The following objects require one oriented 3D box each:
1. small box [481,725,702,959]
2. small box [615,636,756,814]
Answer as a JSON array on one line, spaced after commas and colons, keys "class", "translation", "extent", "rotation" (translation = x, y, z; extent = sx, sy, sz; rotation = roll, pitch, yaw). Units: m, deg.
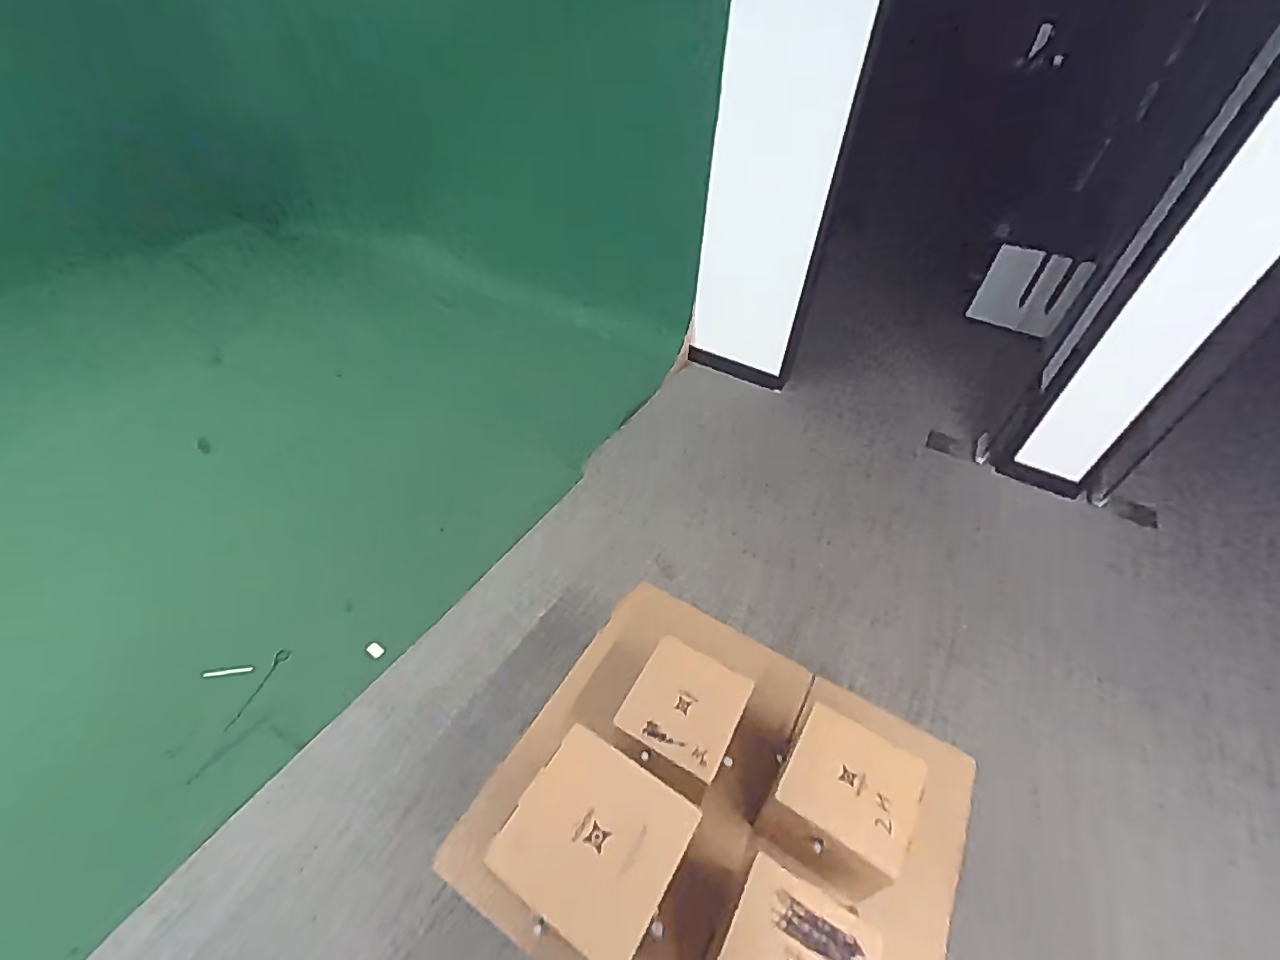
[{"class": "small box", "translation": [-0.051, 0.428, 0.621], "extent": [0.179, 0.176, 0.168], "rotation": [27, 51, 21]}, {"class": "small box", "translation": [0.070, 0.399, 0.883], "extent": [0.168, 0.176, 0.179], "rotation": [22, 47, 21]}]
